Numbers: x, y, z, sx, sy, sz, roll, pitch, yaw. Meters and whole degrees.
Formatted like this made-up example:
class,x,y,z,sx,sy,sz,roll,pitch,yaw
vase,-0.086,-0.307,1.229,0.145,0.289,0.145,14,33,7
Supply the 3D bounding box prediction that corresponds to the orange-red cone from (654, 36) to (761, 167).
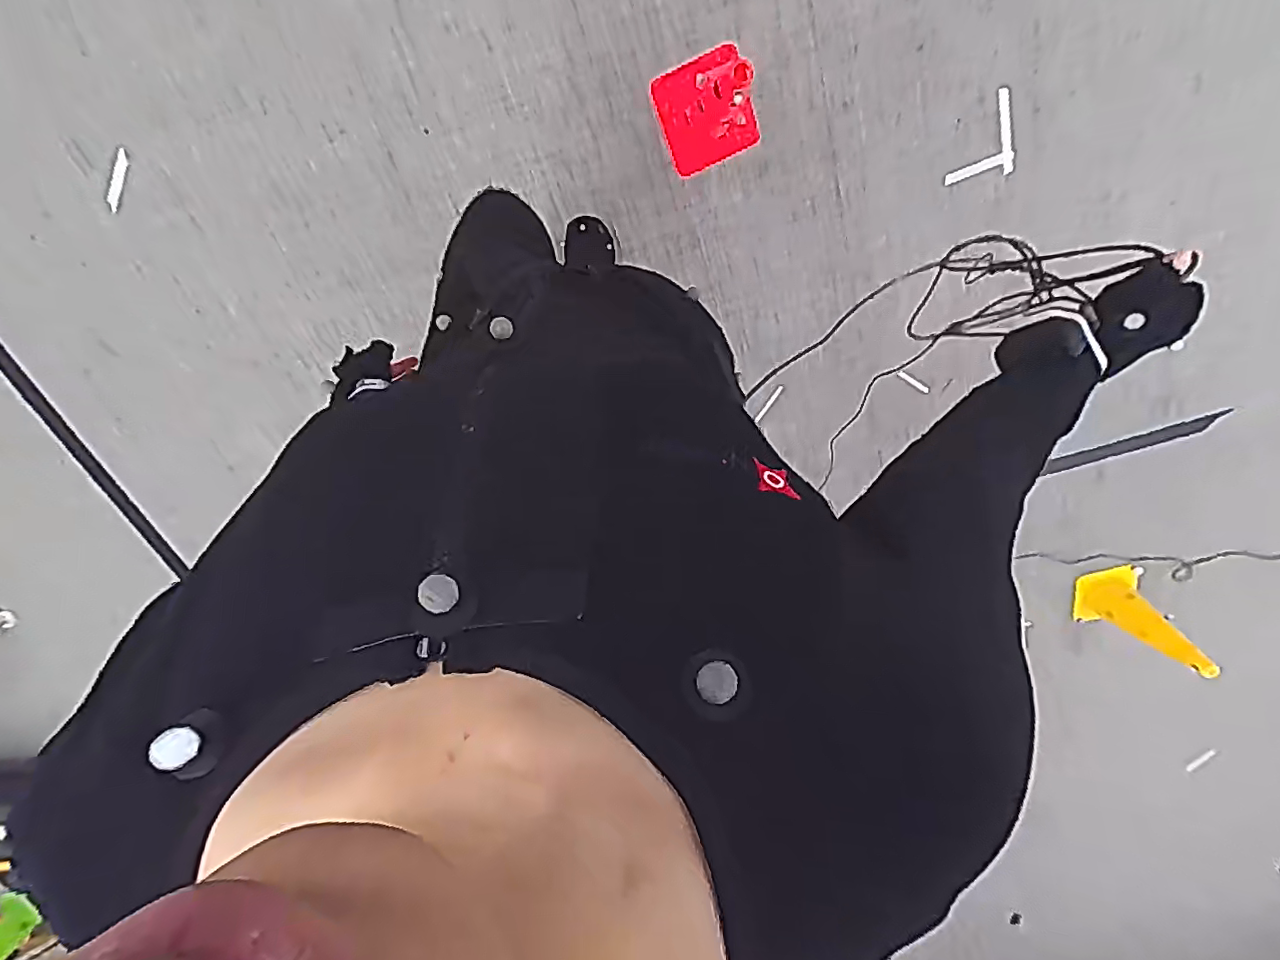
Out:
class,x,y,z,sx,sy,sz,roll,pitch,yaw
orange-red cone,0.152,-0.732,1.007,0.199,0.360,0.198,-21,114,8
